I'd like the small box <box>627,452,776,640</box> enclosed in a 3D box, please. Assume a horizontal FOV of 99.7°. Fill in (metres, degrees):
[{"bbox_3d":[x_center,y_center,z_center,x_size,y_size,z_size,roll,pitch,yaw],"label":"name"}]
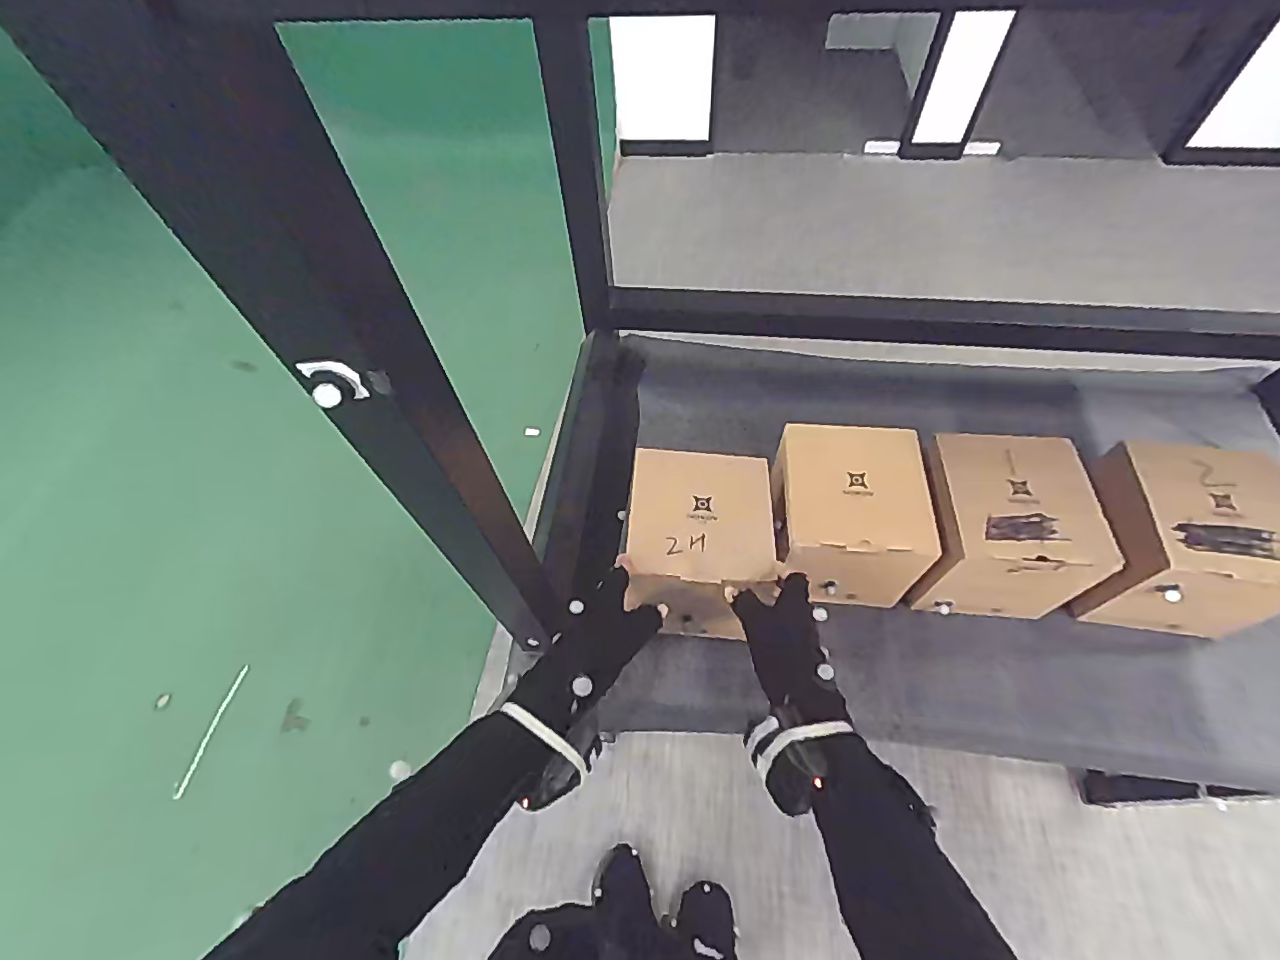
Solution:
[{"bbox_3d":[0.072,0.088,0.704,0.168,0.176,0.179,4,53,1],"label":"small box"}]
